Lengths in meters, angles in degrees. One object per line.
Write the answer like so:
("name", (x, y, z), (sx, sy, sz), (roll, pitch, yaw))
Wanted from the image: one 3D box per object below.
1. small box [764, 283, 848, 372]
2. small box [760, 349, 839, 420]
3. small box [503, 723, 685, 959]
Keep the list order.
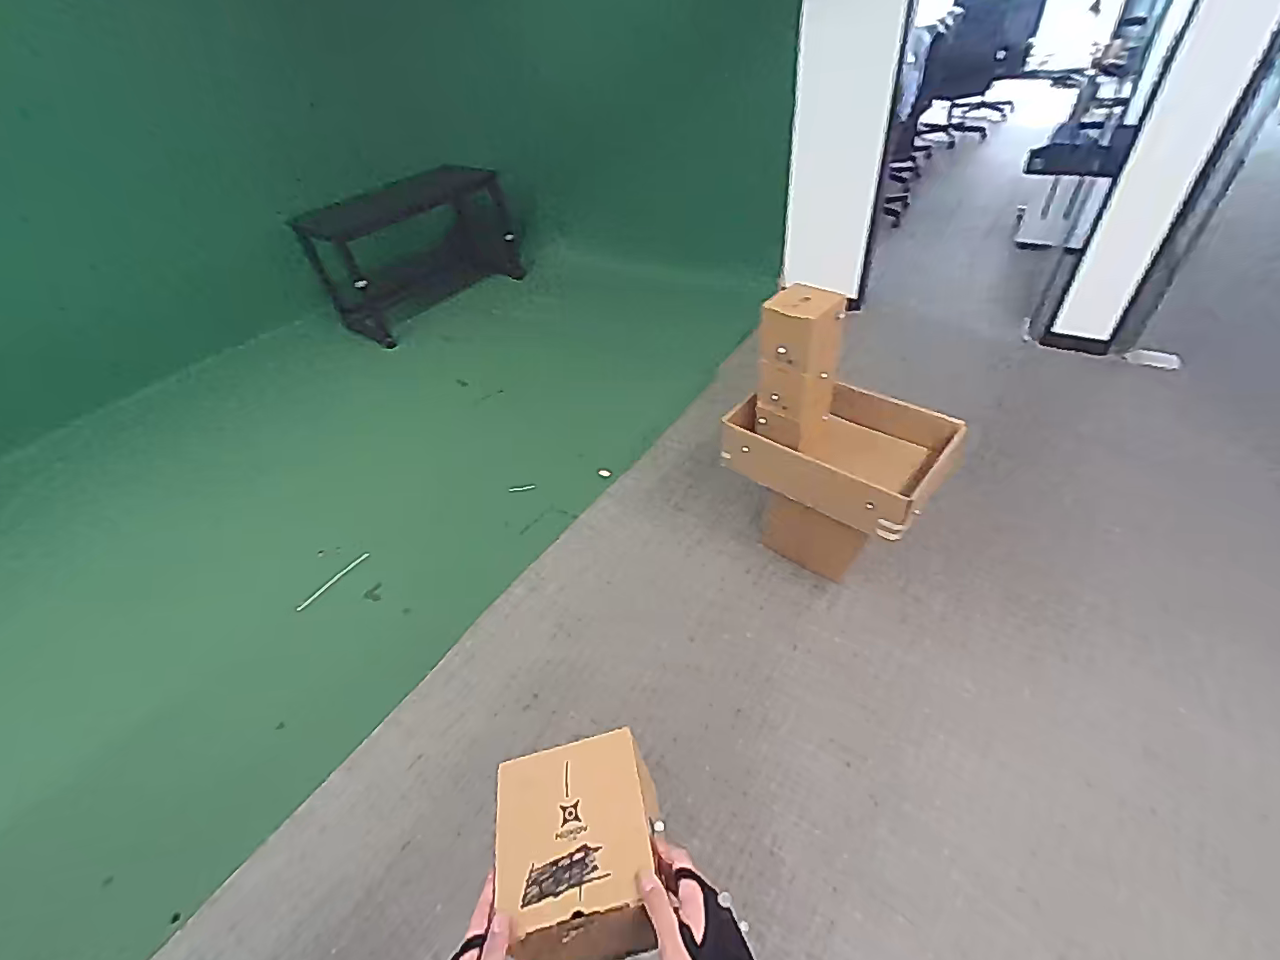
("small box", (0.467, -0.438, 1.551), (0.168, 0.176, 0.179), (31, 56, 35))
("small box", (0.483, -0.316, 1.663), (0.168, 0.176, 0.179), (31, 56, 33))
("small box", (-0.051, 0.425, 0.632), (0.168, 0.176, 0.179), (-14, 36, -1))
